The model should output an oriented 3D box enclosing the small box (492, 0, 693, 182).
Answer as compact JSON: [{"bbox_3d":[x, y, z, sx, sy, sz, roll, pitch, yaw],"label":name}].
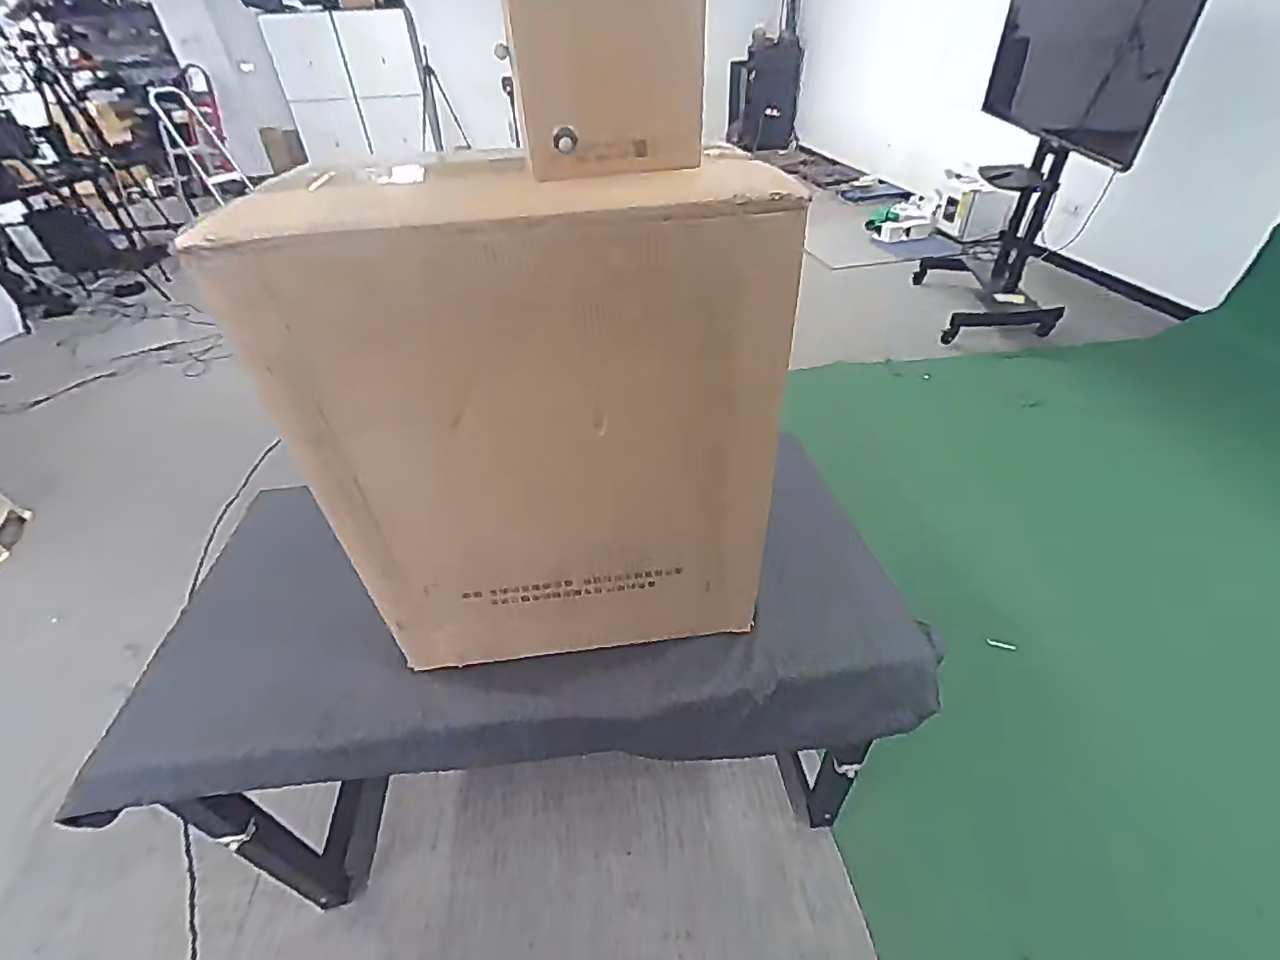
[{"bbox_3d":[-0.047,-0.402,0.530,0.168,0.176,0.179,-11,41,-8],"label":"small box"}]
